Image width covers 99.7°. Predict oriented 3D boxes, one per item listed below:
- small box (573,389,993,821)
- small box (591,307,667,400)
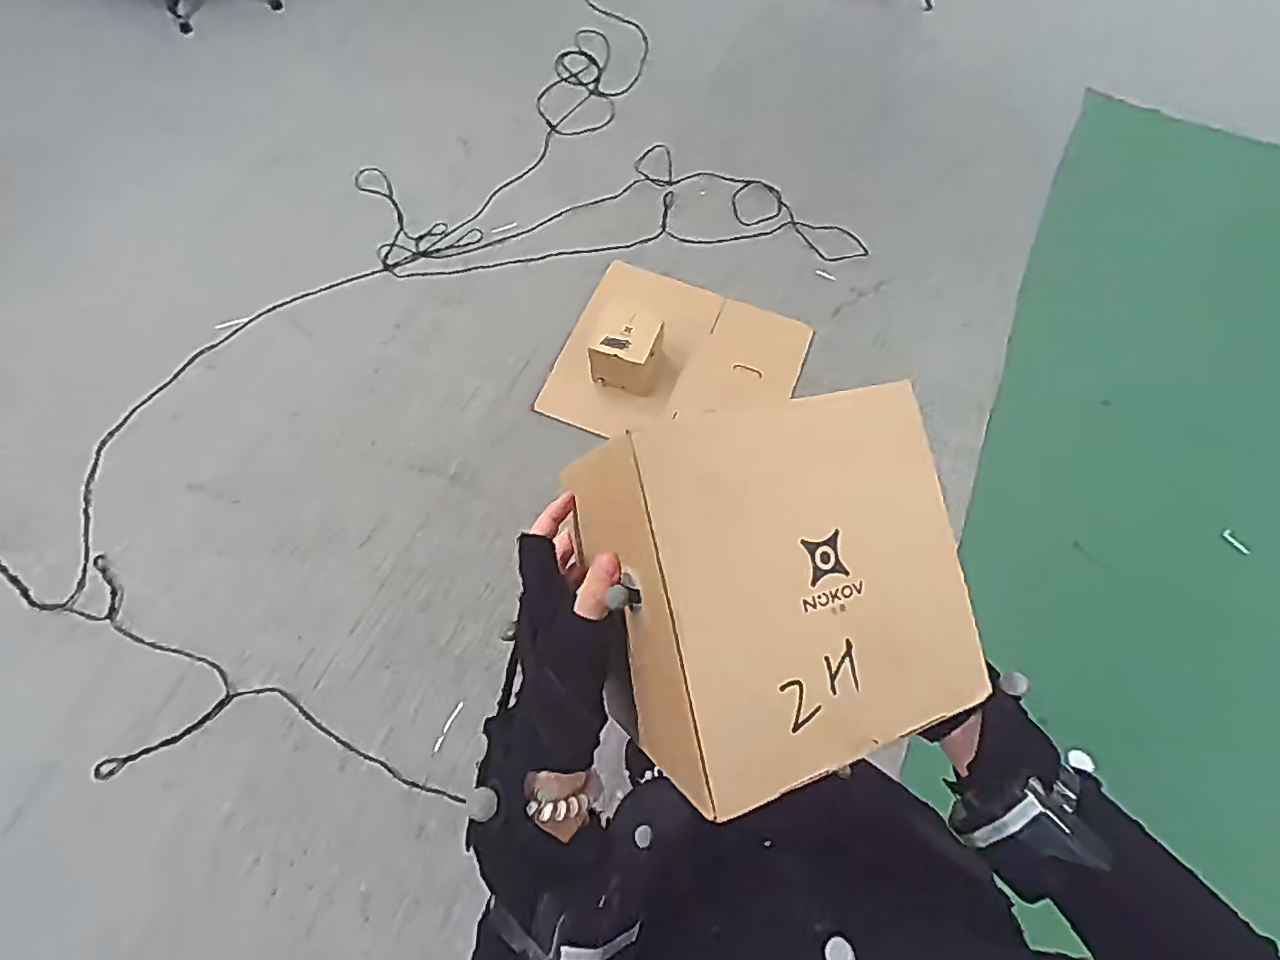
[{"bbox_3d":[0.065,0.060,0.336,0.168,0.176,0.179,-11,86,-19],"label":"small box"},{"bbox_3d":[-0.027,-0.360,1.565,0.168,0.176,0.179,19,68,7],"label":"small box"}]
